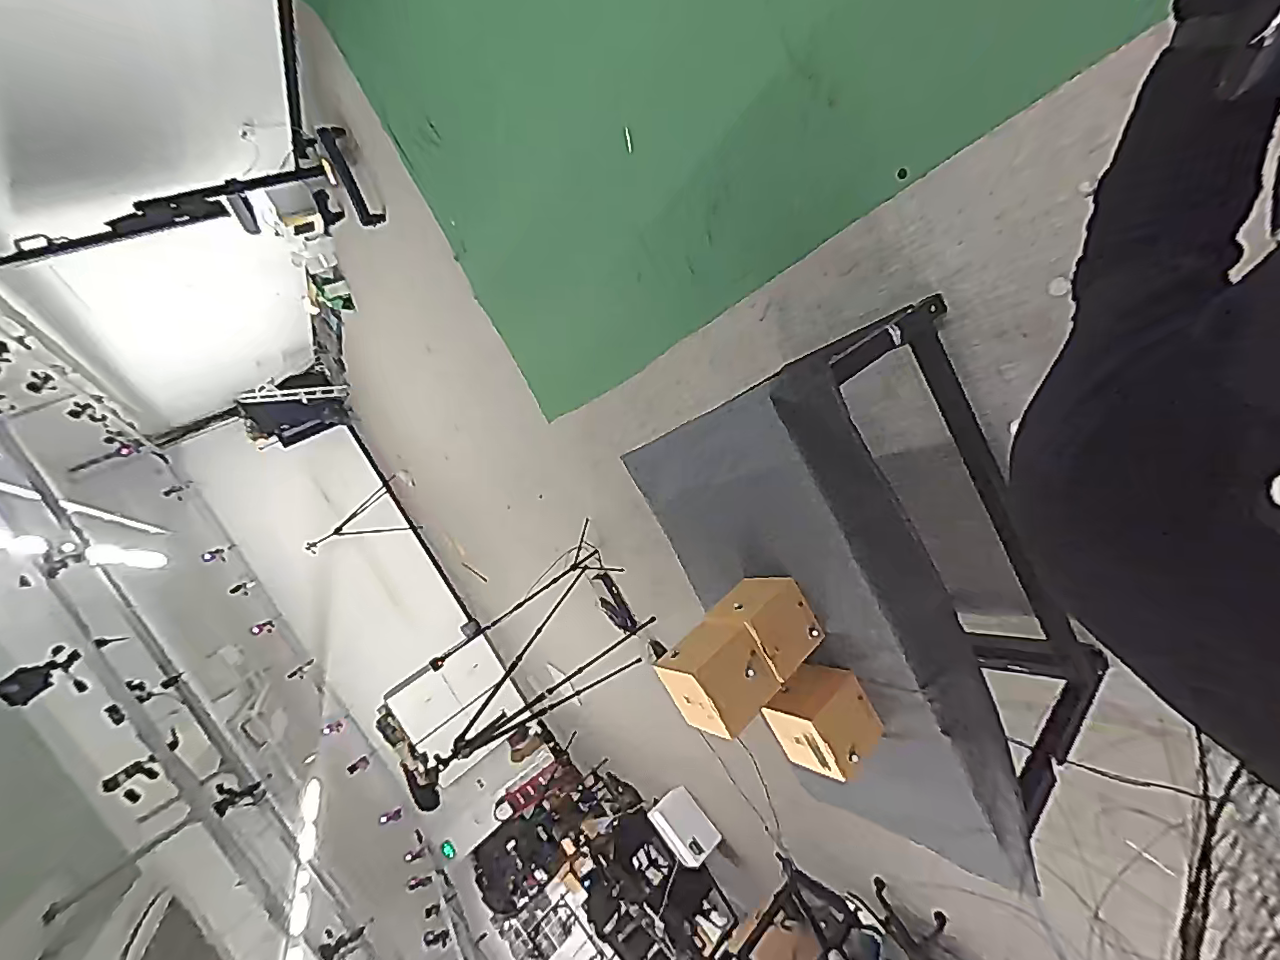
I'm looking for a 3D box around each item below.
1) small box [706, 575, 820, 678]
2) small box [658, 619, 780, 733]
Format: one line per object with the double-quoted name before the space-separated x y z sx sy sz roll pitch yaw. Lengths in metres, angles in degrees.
"small box" 0.297 0.336 1.278 0.168 0.176 0.179 60 151 -6
"small box" 0.177 0.427 1.212 0.168 0.176 0.179 59 150 -5
